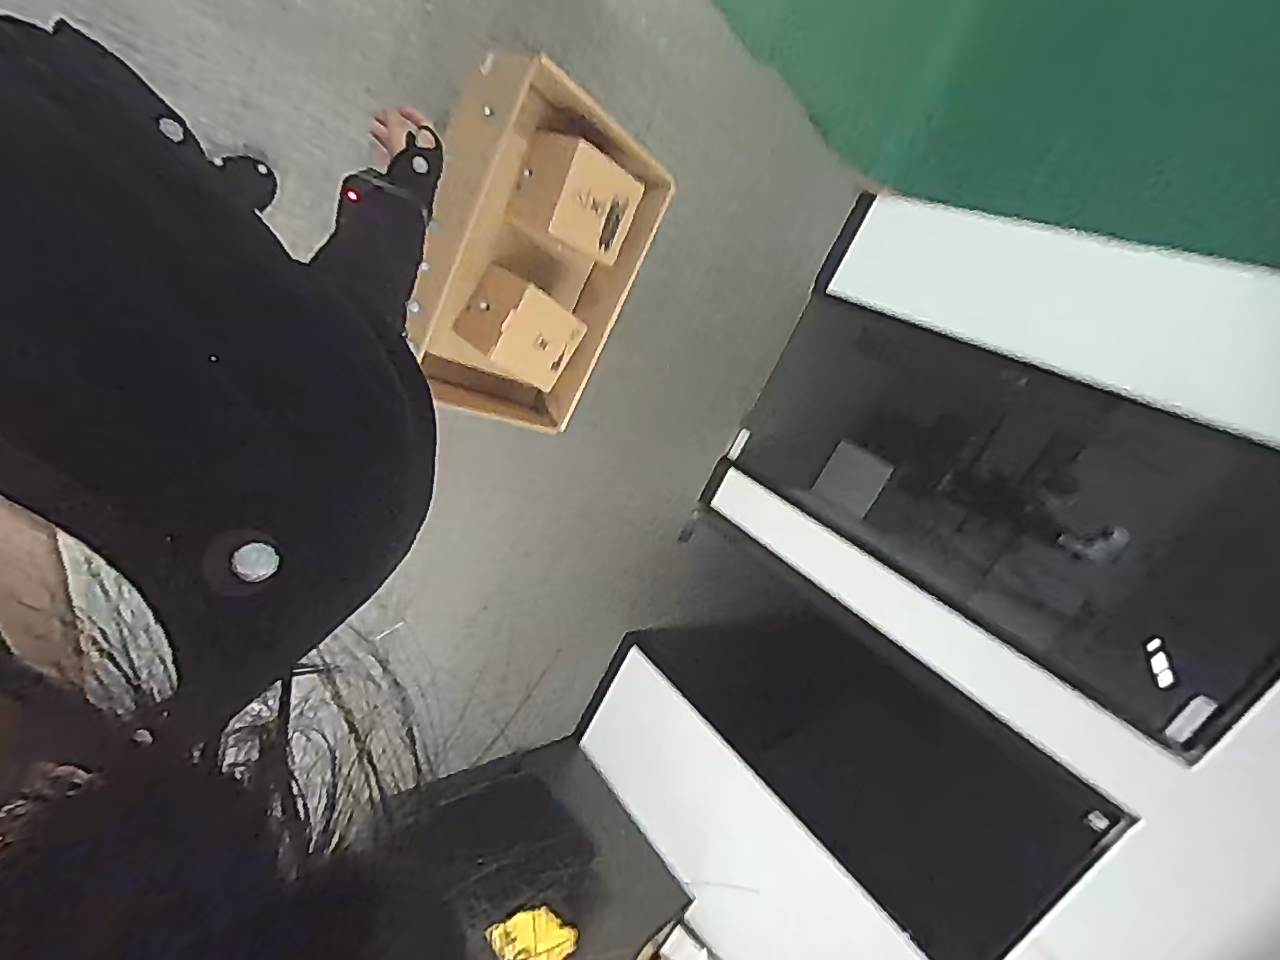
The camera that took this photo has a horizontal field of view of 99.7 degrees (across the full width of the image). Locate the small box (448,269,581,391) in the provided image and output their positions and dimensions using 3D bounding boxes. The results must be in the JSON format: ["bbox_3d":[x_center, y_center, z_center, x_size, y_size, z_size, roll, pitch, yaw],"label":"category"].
[{"bbox_3d":[-0.266,-0.318,1.135,0.168,0.176,0.179,-56,144,5],"label":"small box"}]
